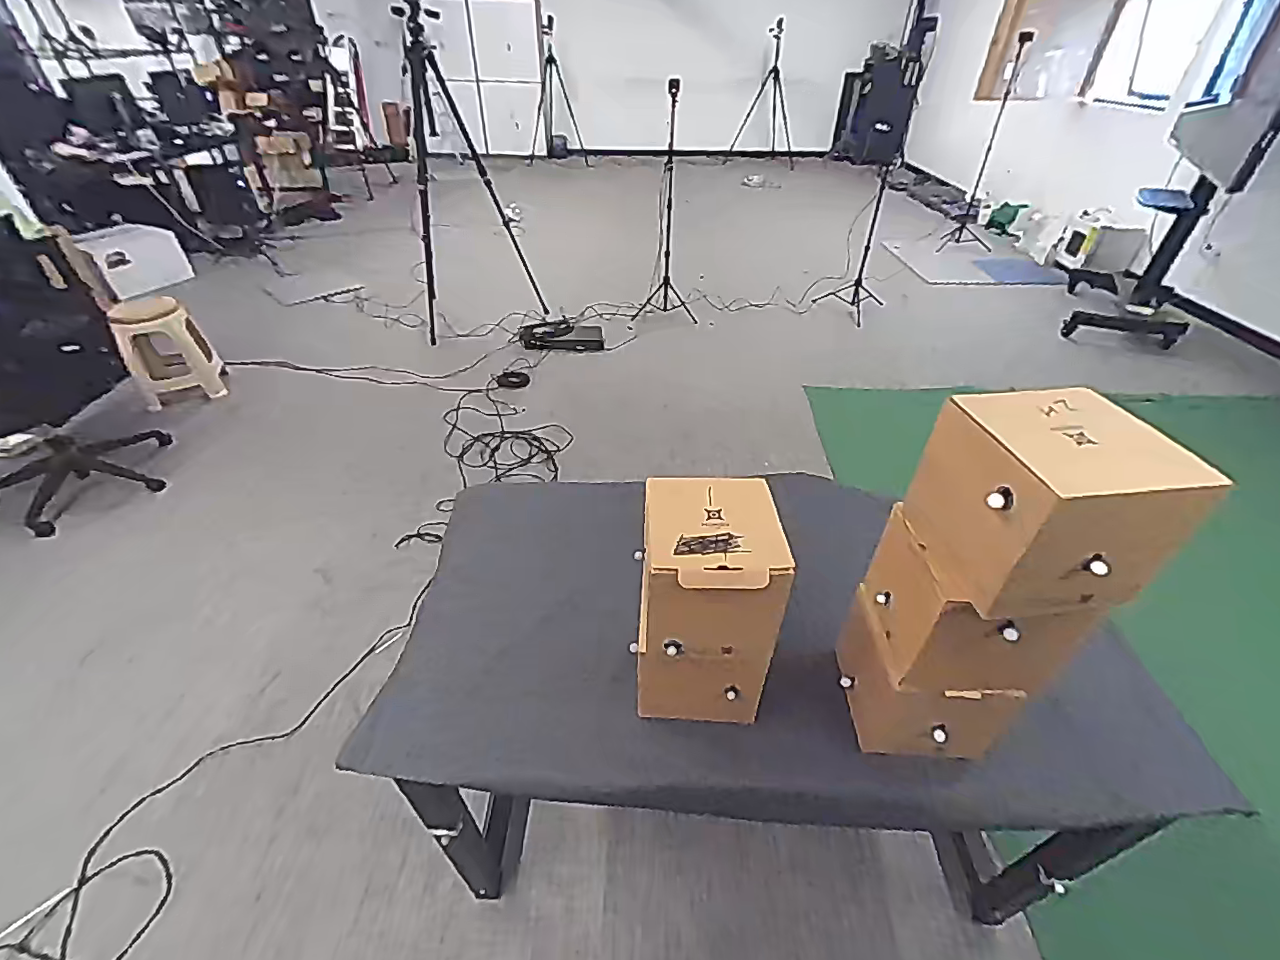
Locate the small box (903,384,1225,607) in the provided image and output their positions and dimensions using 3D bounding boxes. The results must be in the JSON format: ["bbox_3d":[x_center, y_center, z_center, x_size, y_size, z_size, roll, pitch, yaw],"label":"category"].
[{"bbox_3d":[0.413,0.019,0.569,0.168,0.176,0.179,-4,38,-5],"label":"small box"}]

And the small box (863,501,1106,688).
[{"bbox_3d":[0.406,0.143,0.678,0.179,0.176,0.168,0,38,2],"label":"small box"}]

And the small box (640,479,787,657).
[{"bbox_3d":[0.084,0.116,0.714,0.168,0.176,0.179,0,36,-1],"label":"small box"}]

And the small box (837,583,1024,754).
[{"bbox_3d":[0.398,0.271,0.778,0.168,0.176,0.179,1,39,3],"label":"small box"}]

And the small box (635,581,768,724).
[{"bbox_3d":[0.085,0.247,0.814,0.179,0.176,0.168,1,37,3],"label":"small box"}]
